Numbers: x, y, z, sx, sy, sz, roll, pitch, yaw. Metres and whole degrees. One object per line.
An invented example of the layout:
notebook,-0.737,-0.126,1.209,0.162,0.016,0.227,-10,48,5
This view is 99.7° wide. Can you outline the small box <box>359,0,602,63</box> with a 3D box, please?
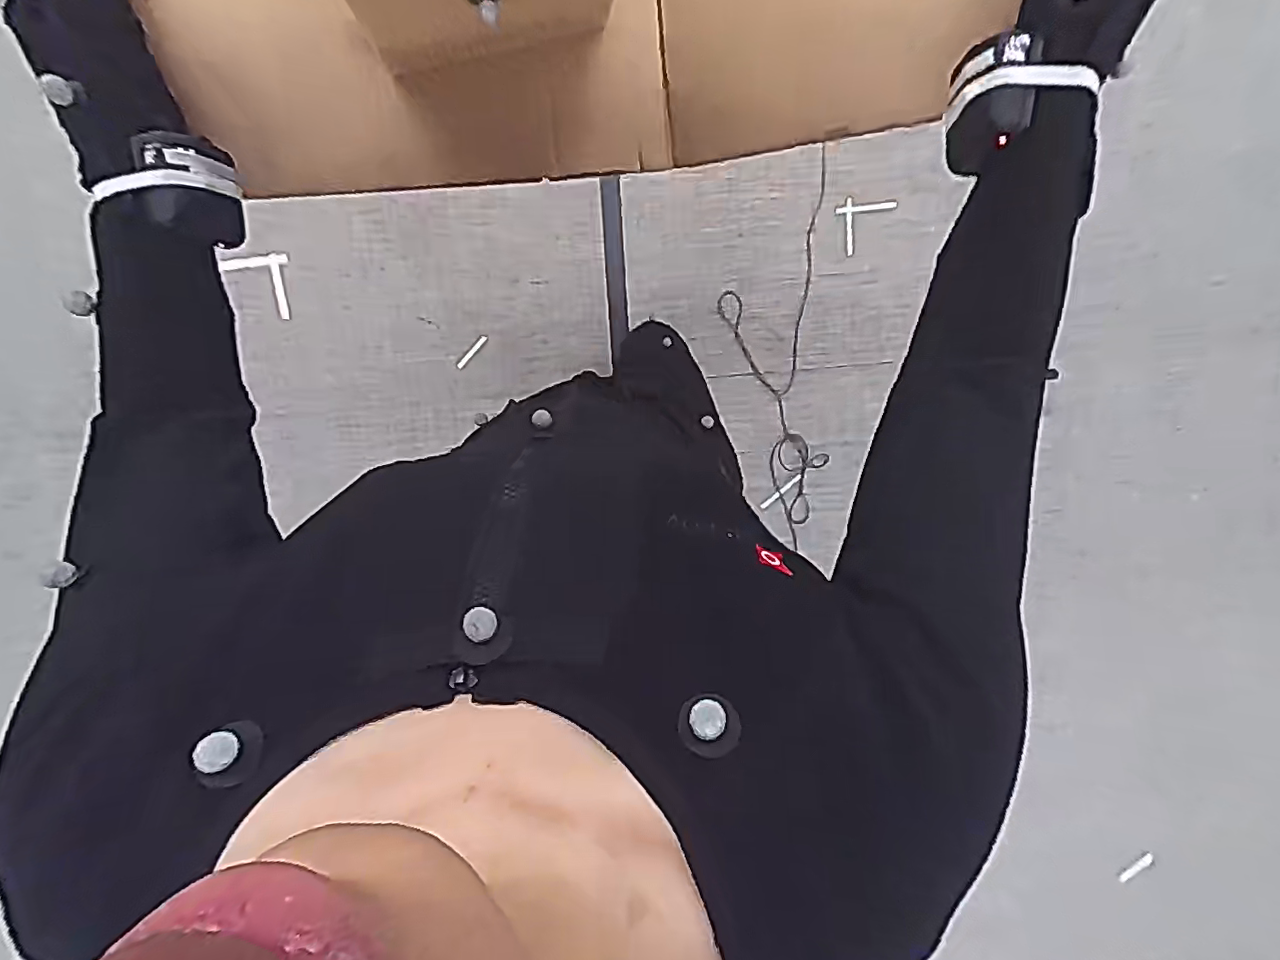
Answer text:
small box,-0.110,-0.391,0.324,0.179,0.176,0.168,-18,112,-5
